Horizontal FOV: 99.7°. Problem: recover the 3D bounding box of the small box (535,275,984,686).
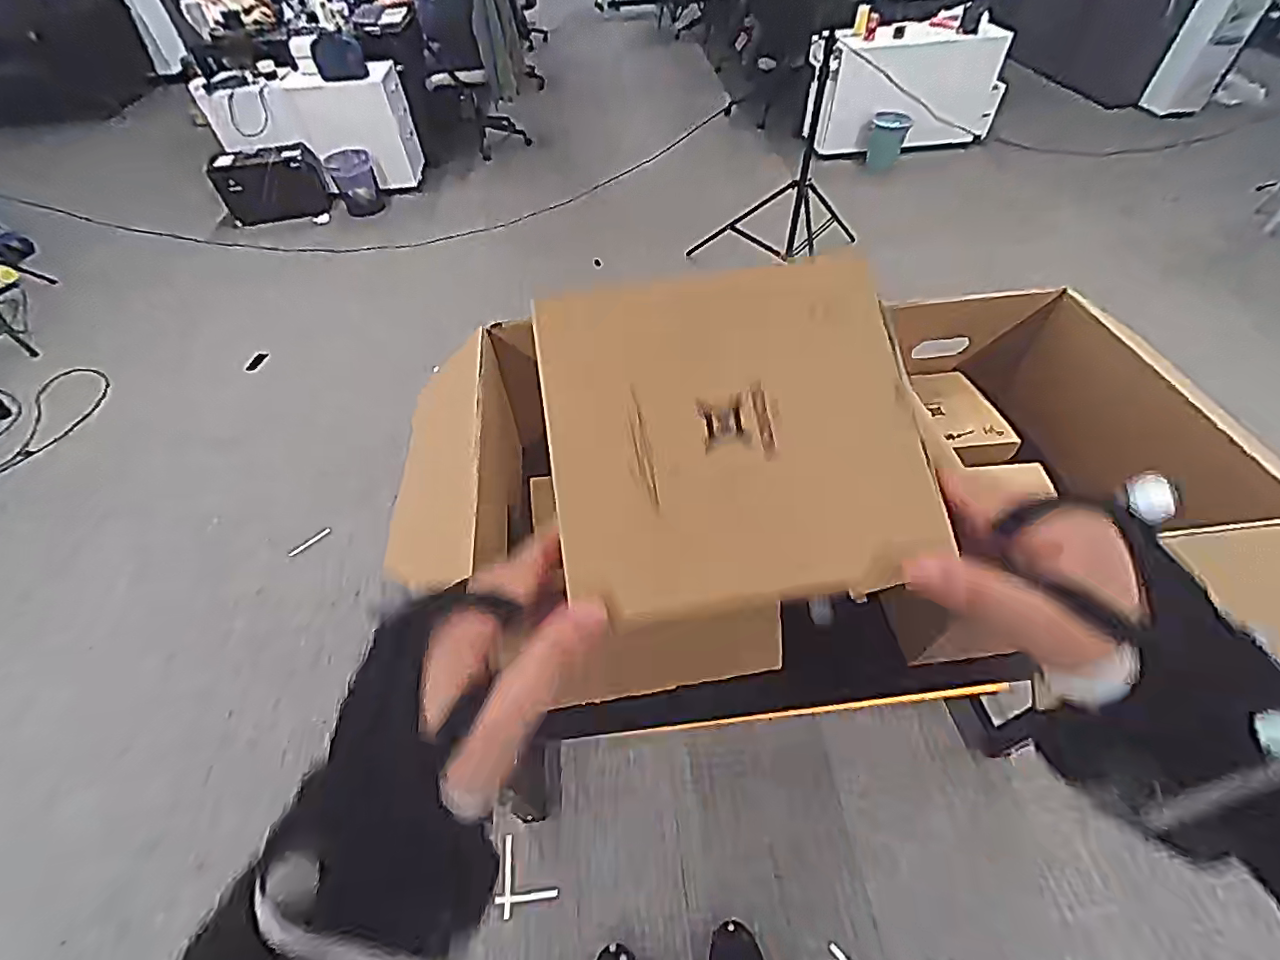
[{"bbox_3d":[0.048,0.010,0.318,0.179,0.176,0.168,-10,77,-1],"label":"small box"}]
